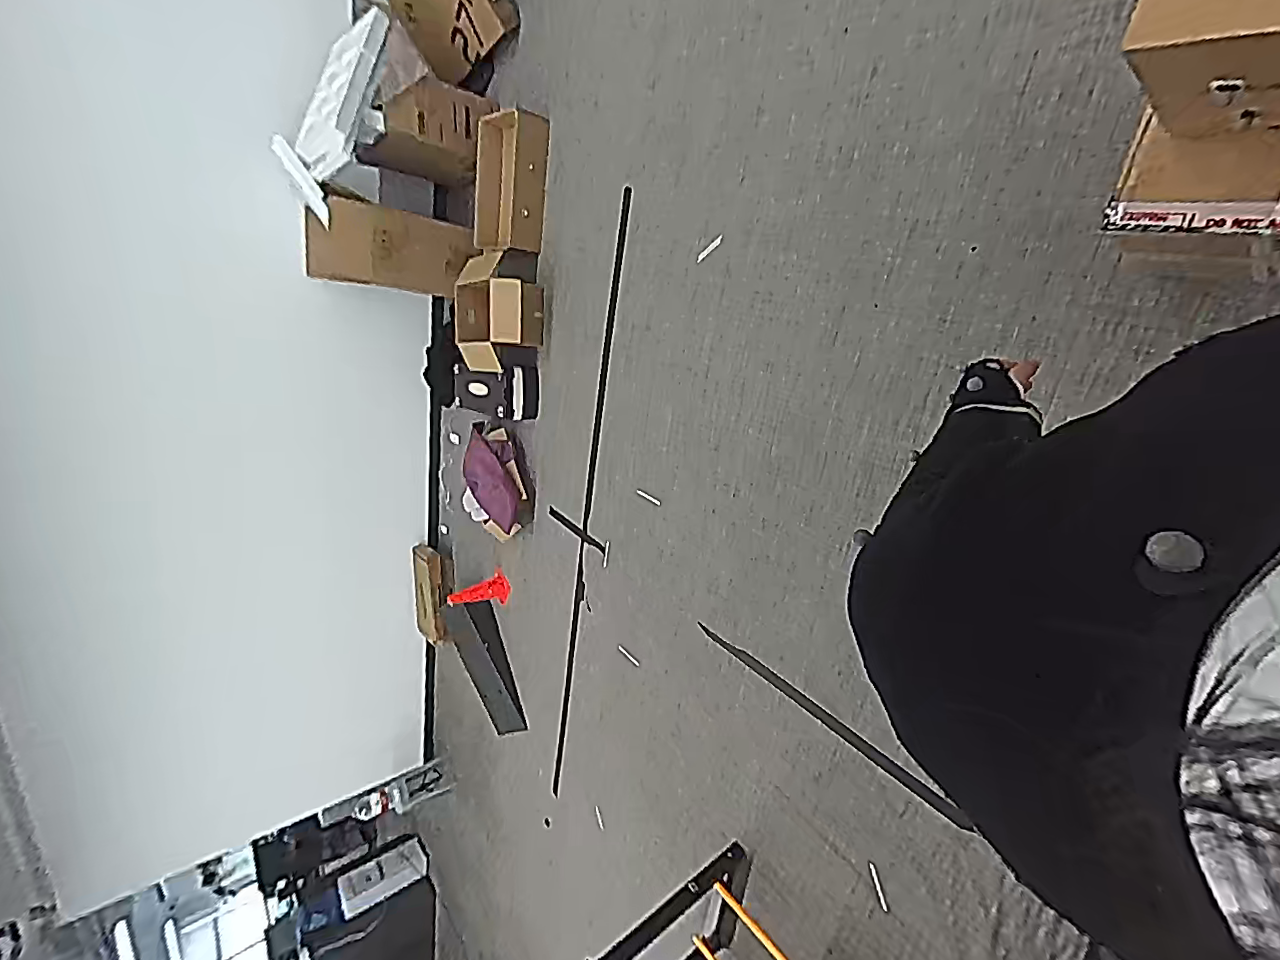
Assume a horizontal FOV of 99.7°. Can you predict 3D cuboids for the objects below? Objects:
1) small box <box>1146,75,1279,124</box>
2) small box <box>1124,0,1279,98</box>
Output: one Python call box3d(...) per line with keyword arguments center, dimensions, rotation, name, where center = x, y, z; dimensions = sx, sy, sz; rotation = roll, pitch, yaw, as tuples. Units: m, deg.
box3d(center=(0.703, -0.499, 0.578), dimensions=(0.168, 0.176, 0.179), rotation=(33, 123, 44), name="small box")
box3d(center=(0.581, -0.468, 0.473), dimensions=(0.168, 0.176, 0.179), rotation=(34, 123, 45), name="small box")
